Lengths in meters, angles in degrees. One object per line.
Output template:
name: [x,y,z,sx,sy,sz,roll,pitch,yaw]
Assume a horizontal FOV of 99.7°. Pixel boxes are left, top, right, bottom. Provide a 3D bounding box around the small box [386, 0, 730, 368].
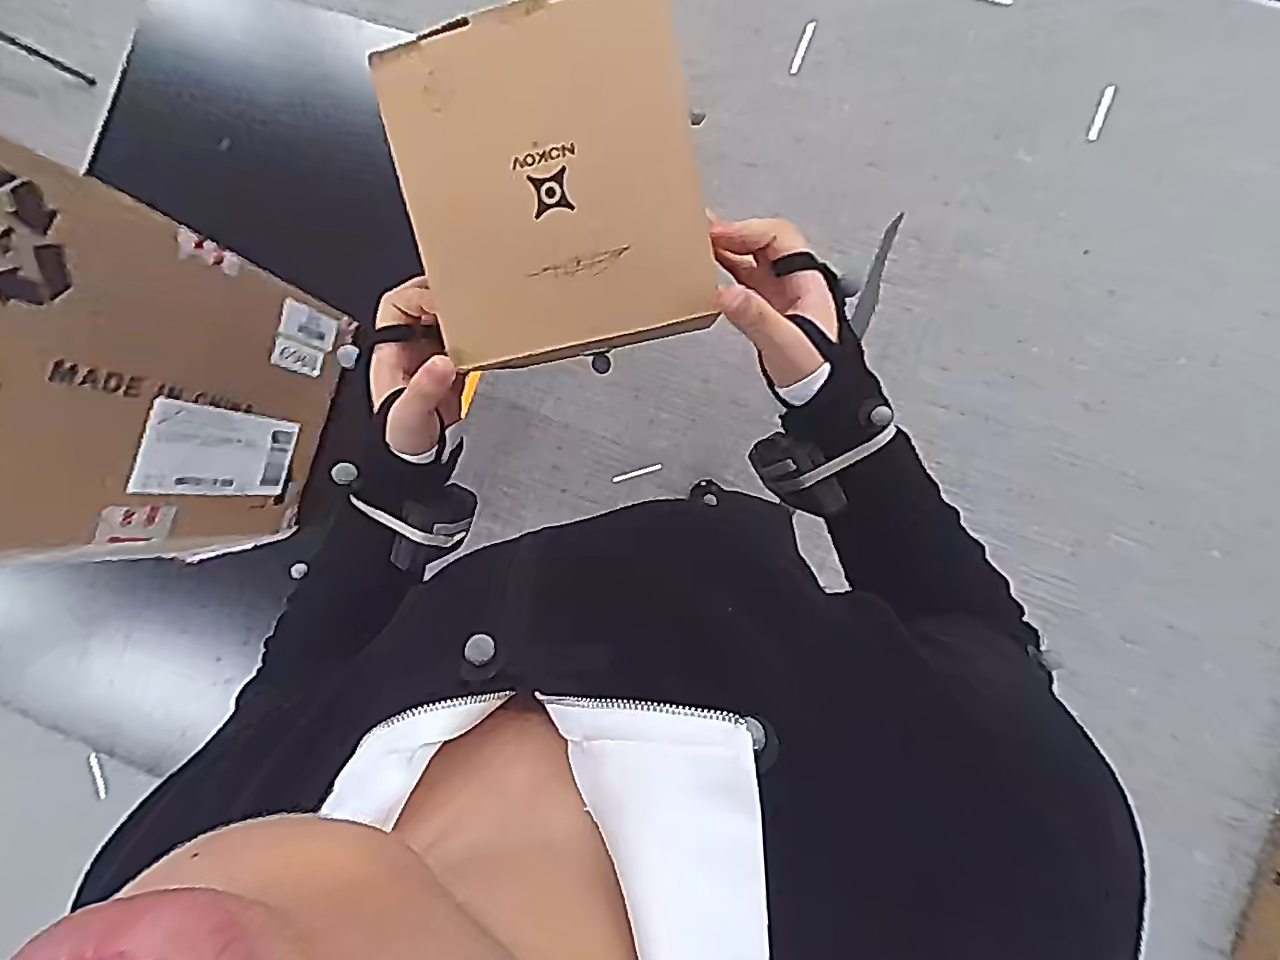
small box: [-0.037,-0.180,0.378,0.168,0.176,0.179,-10,102,7]
